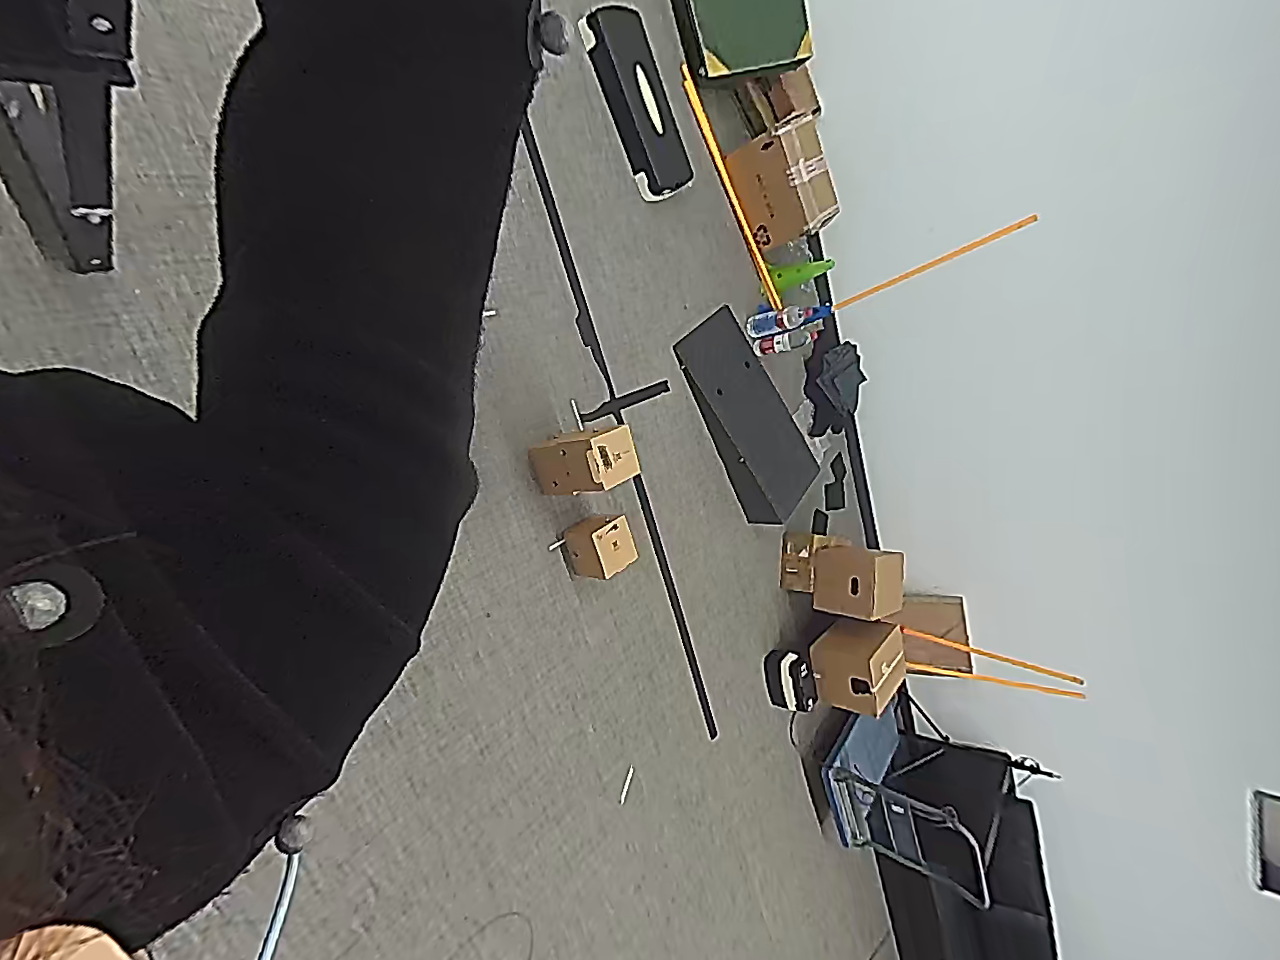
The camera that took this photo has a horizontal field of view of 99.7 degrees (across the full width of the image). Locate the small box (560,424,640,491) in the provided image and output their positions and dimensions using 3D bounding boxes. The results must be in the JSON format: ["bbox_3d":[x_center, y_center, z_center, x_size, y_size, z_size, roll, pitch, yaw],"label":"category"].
[{"bbox_3d":[-0.132,-0.068,1.703,0.179,0.176,0.168,-28,109,-44],"label":"small box"}]

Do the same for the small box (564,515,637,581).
[{"bbox_3d":[-0.142,0.233,1.914,0.168,0.176,0.179,-30,110,-42],"label":"small box"}]

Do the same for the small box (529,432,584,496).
[{"bbox_3d":[-0.244,-0.057,1.822,0.168,0.176,0.179,-31,110,-42],"label":"small box"}]
